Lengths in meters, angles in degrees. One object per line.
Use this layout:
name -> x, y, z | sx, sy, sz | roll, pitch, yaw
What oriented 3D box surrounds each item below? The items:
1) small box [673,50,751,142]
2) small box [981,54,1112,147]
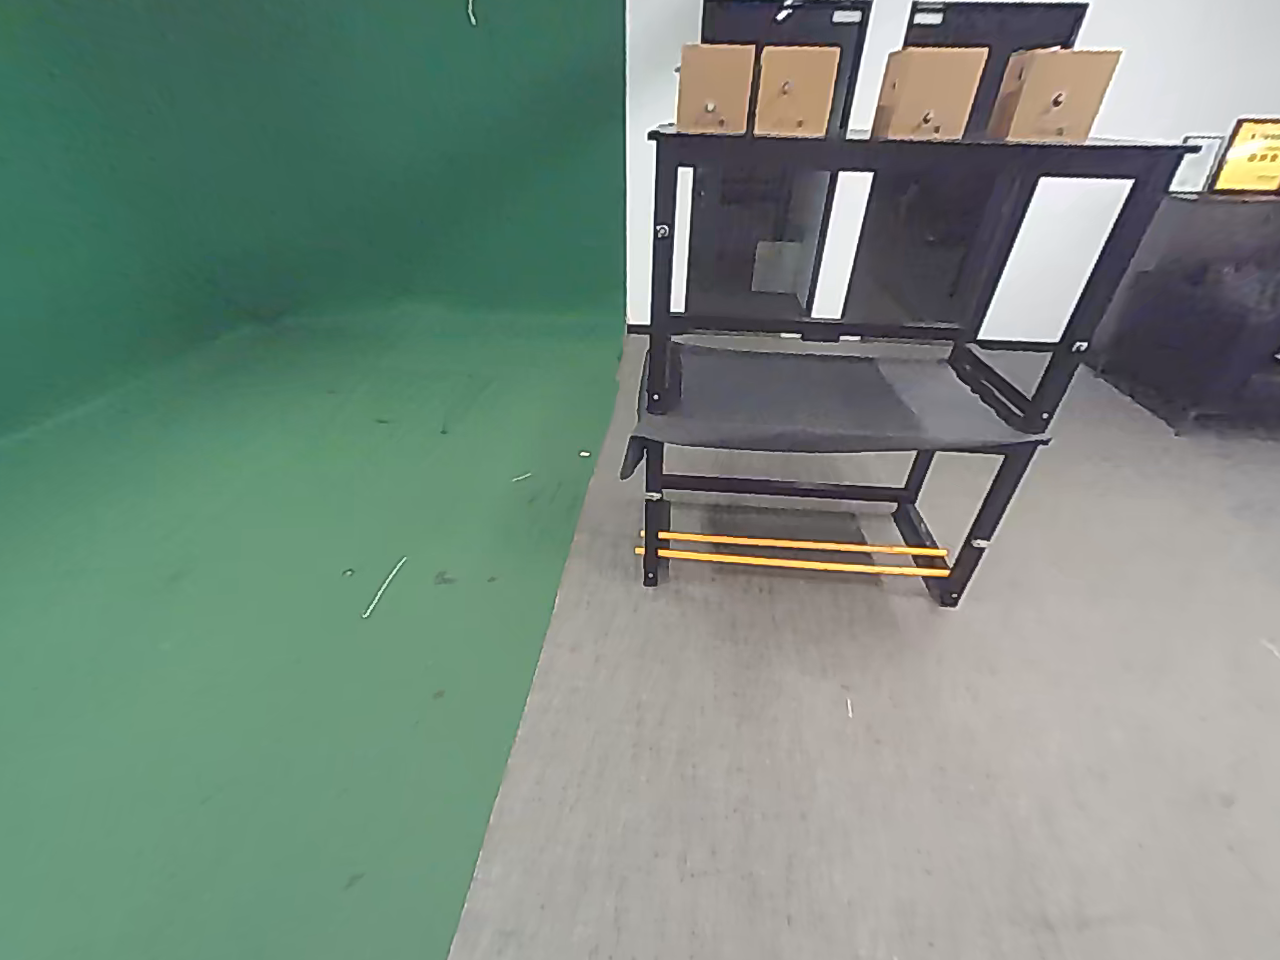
small box -> 0.169, -0.933, 1.321 | 0.168, 0.176, 0.179 | 3, 35, 2
small box -> 0.927, -0.873, 1.253 | 0.168, 0.176, 0.179 | 9, 35, 10
